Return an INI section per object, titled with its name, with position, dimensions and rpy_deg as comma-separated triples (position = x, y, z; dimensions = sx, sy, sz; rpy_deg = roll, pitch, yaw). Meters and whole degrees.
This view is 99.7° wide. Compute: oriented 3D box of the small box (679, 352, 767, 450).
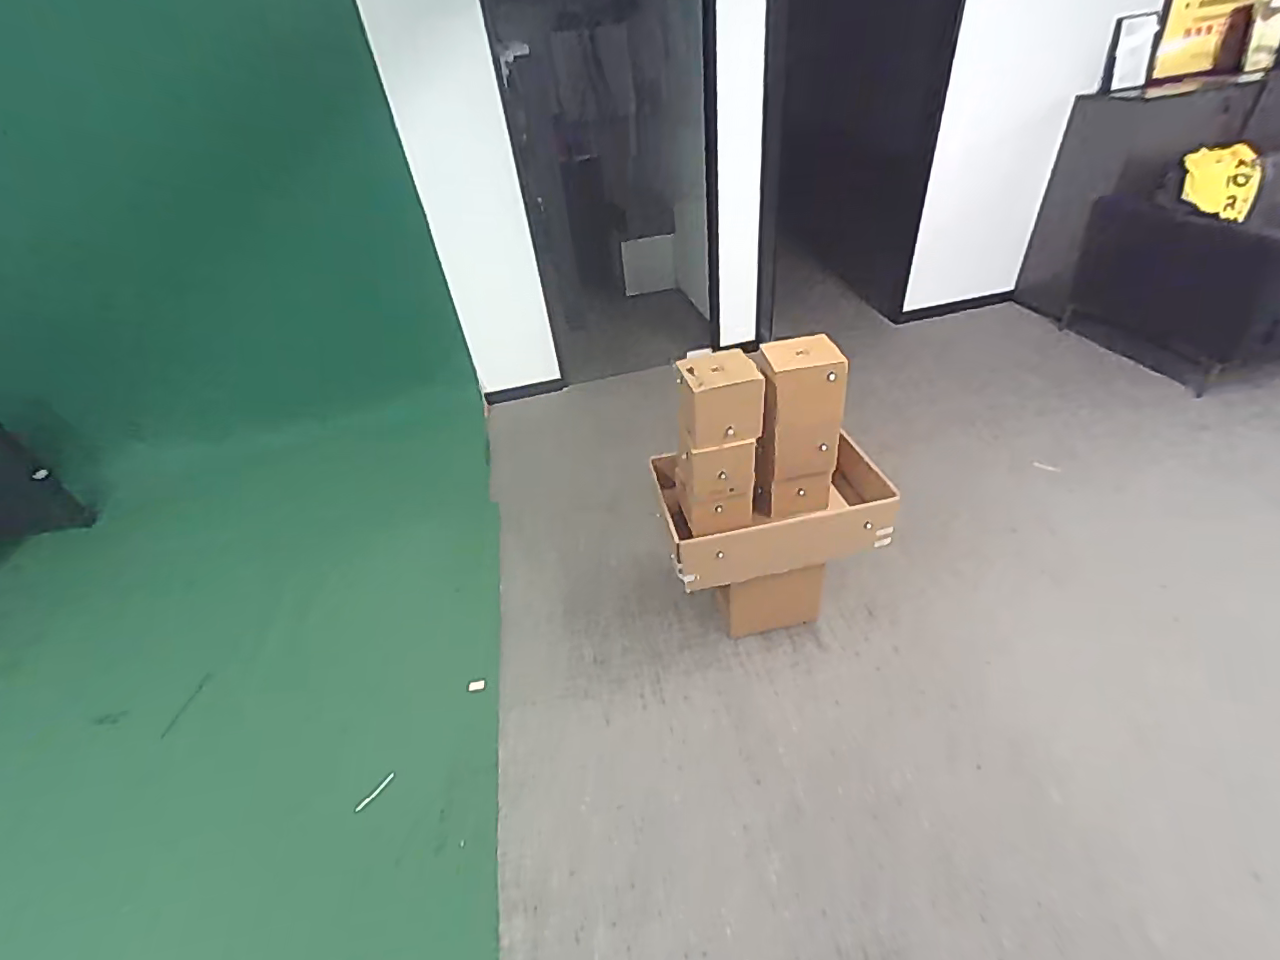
[small box]
position = 0.202, -0.197, 1.355
dimensions = 0.179, 0.176, 0.168
rpy_deg = -12, 39, -6
